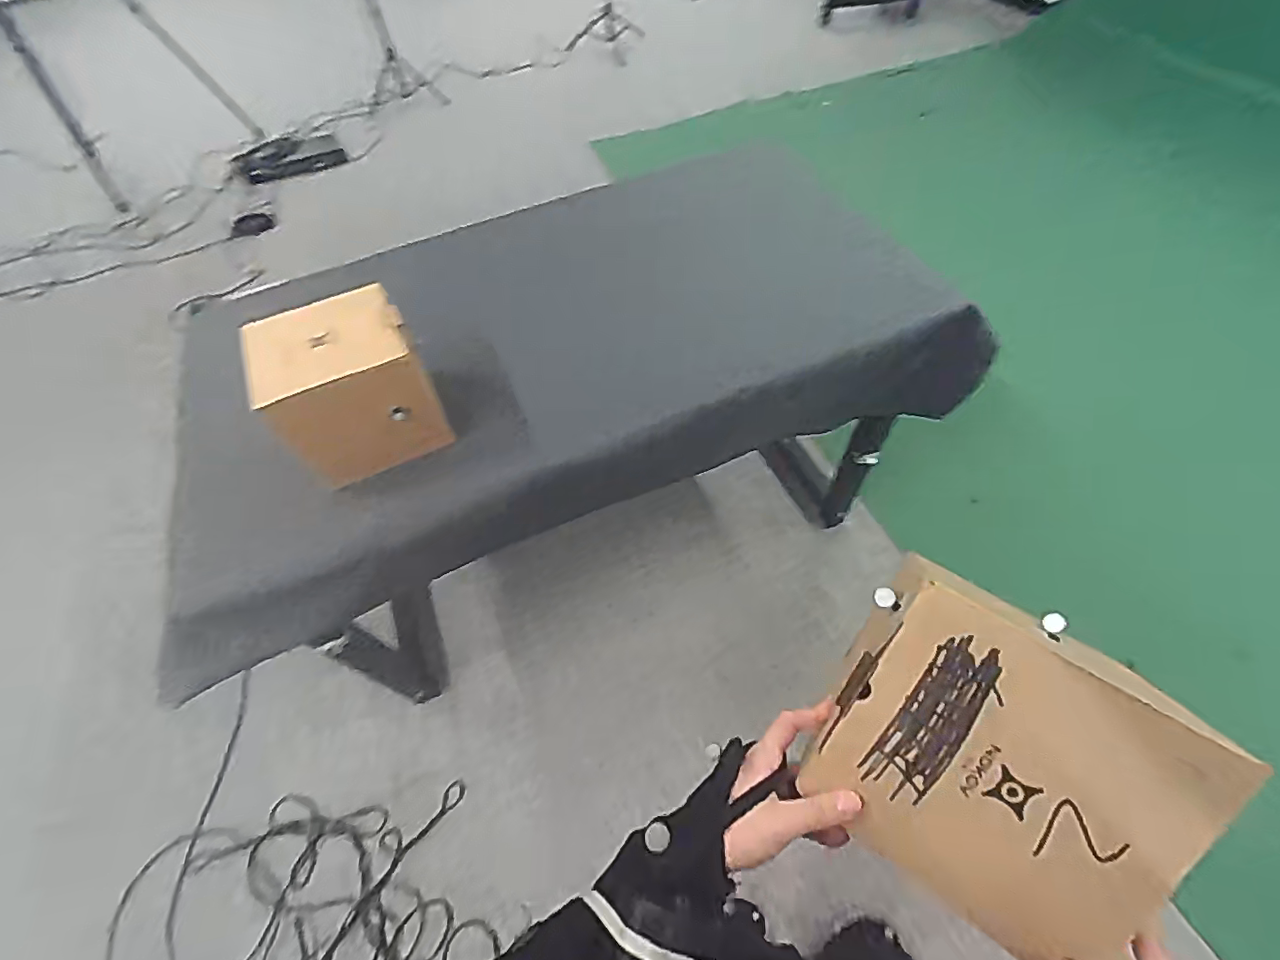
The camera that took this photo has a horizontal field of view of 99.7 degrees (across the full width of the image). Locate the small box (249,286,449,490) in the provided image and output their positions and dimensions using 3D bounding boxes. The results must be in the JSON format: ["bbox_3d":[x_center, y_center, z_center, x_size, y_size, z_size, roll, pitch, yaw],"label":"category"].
[{"bbox_3d":[-0.372,-0.119,0.718,0.179,0.176,0.168,-25,57,-13],"label":"small box"}]
